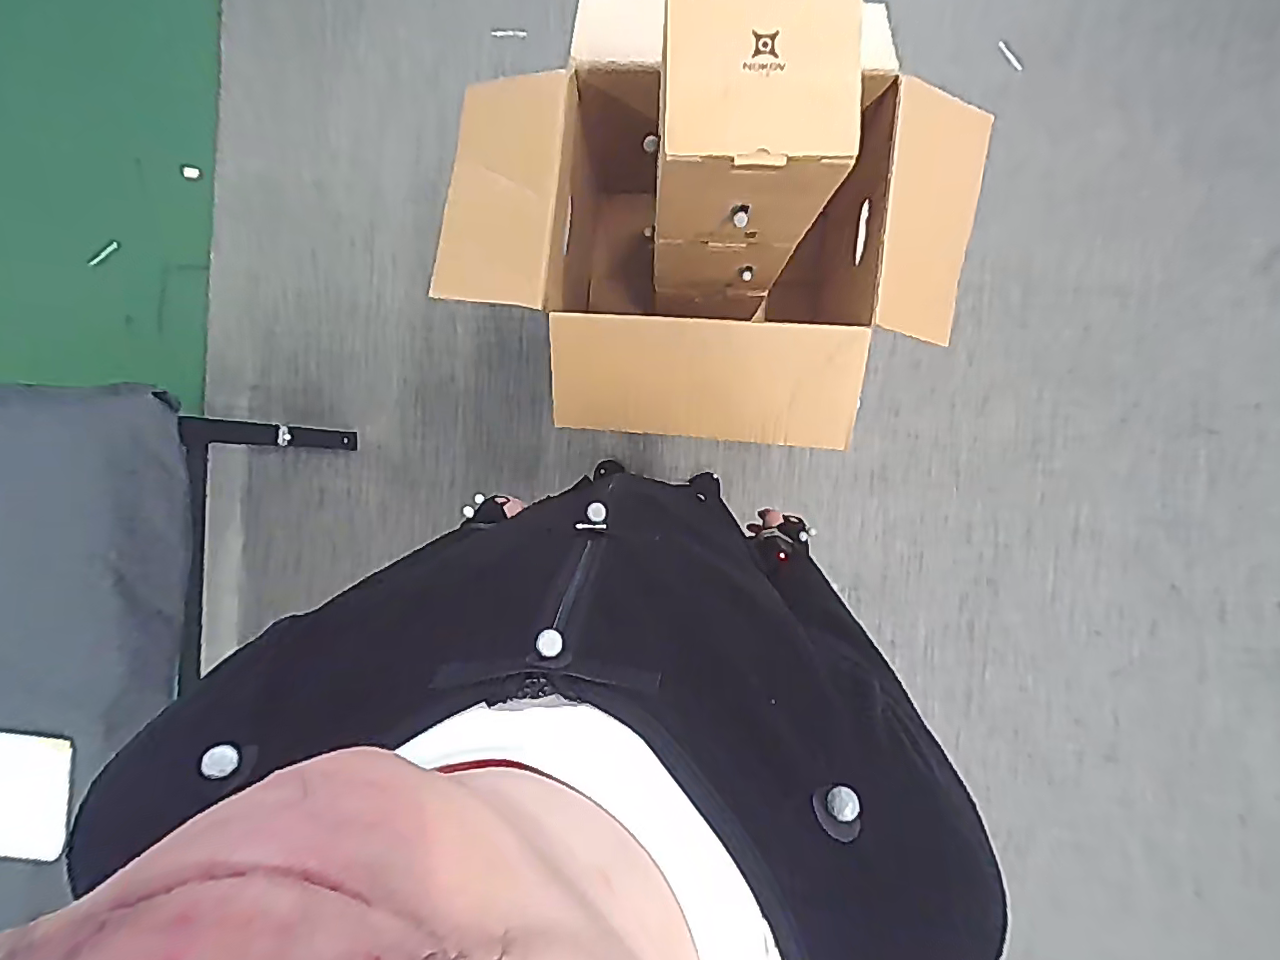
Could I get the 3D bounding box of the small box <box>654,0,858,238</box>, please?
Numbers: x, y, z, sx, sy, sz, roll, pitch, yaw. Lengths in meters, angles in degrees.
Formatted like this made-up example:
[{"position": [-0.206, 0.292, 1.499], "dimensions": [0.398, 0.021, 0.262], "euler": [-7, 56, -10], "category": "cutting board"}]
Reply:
[{"position": [0.101, -0.359, 0.539], "dimensions": [0.168, 0.176, 0.179], "euler": [1, 92, -1], "category": "small box"}]
